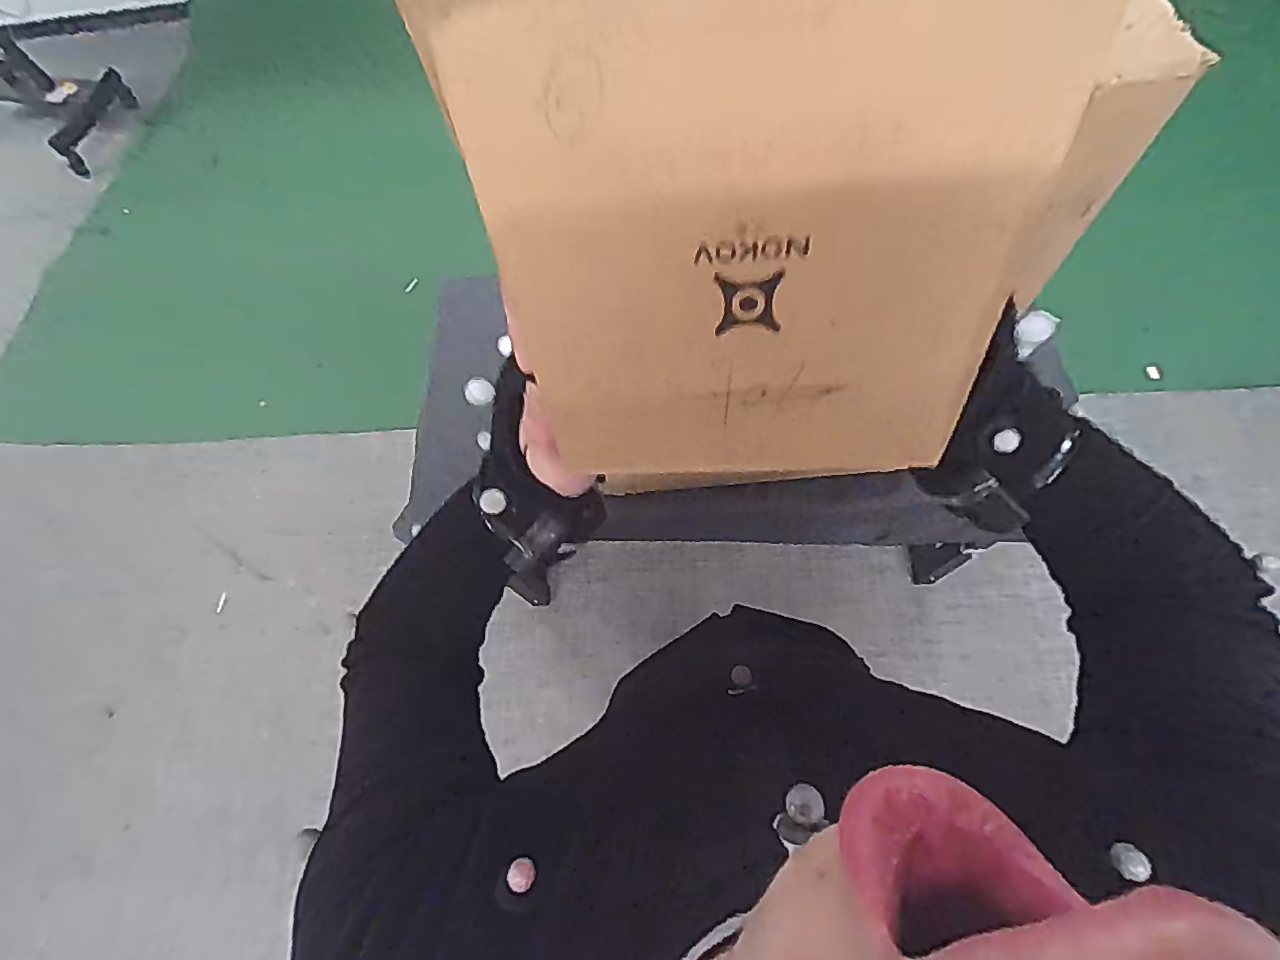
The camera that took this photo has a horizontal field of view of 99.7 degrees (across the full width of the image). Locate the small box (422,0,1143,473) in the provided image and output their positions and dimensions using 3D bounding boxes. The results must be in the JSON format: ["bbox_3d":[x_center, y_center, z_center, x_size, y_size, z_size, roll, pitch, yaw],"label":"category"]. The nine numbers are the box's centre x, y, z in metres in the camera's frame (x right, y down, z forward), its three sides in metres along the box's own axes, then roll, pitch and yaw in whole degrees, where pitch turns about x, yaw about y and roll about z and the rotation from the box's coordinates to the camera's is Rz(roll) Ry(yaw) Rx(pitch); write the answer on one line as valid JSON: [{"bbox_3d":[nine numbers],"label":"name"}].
[{"bbox_3d":[0.040,-0.122,0.230,0.168,0.179,0.176,0,50,7],"label":"small box"}]
